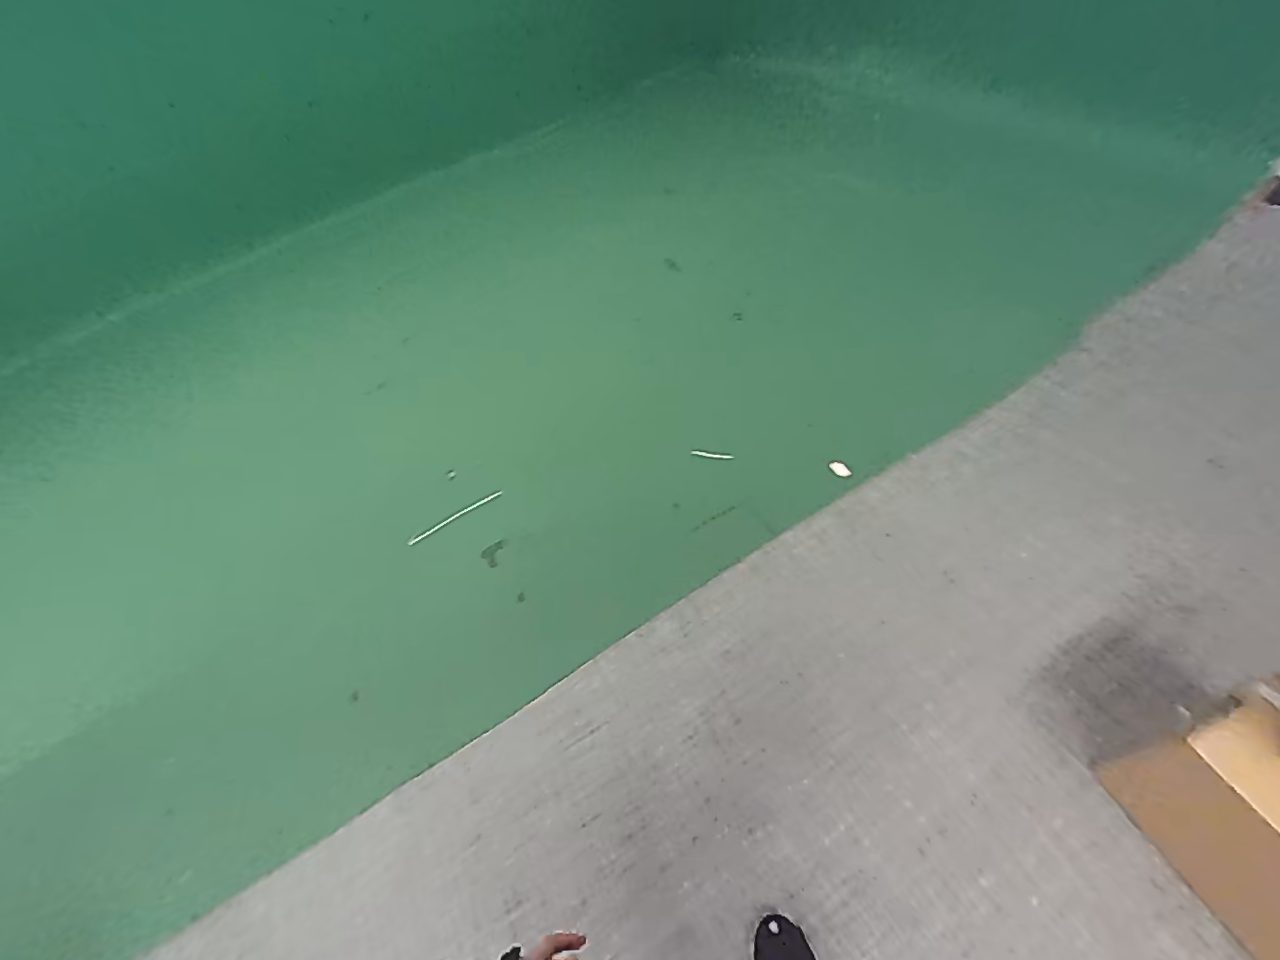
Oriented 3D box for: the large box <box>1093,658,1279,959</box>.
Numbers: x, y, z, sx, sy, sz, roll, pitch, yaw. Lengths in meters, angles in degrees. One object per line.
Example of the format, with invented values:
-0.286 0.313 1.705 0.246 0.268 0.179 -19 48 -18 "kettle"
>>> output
1.055 0.534 0.826 0.320 0.320 0.408 -27 54 -5 "large box"
